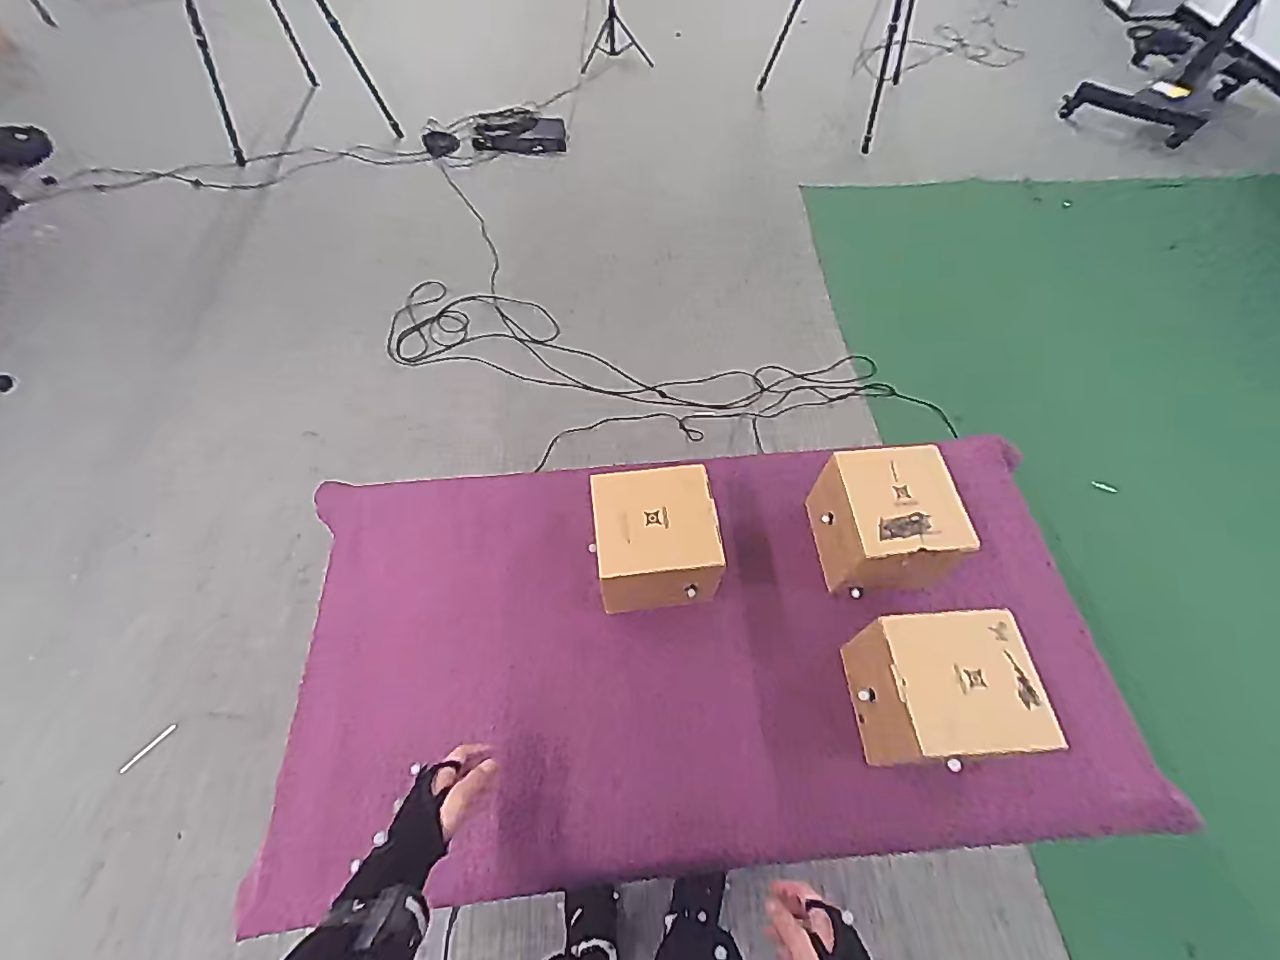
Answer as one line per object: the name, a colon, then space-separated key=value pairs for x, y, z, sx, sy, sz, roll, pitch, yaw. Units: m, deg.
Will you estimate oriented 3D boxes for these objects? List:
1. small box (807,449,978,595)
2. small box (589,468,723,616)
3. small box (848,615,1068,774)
small box: x=0.375 y=0.073 z=0.842 sx=0.168 sy=0.176 sz=0.179 roll=-4 pitch=59 yaw=-2
small box: x=0.017 y=0.099 z=0.828 sx=0.179 sy=0.176 sz=0.168 roll=-6 pitch=59 yaw=-3
small box: x=0.392 y=0.287 z=0.712 sx=0.179 sy=0.176 sz=0.168 roll=-3 pitch=58 yaw=-1
